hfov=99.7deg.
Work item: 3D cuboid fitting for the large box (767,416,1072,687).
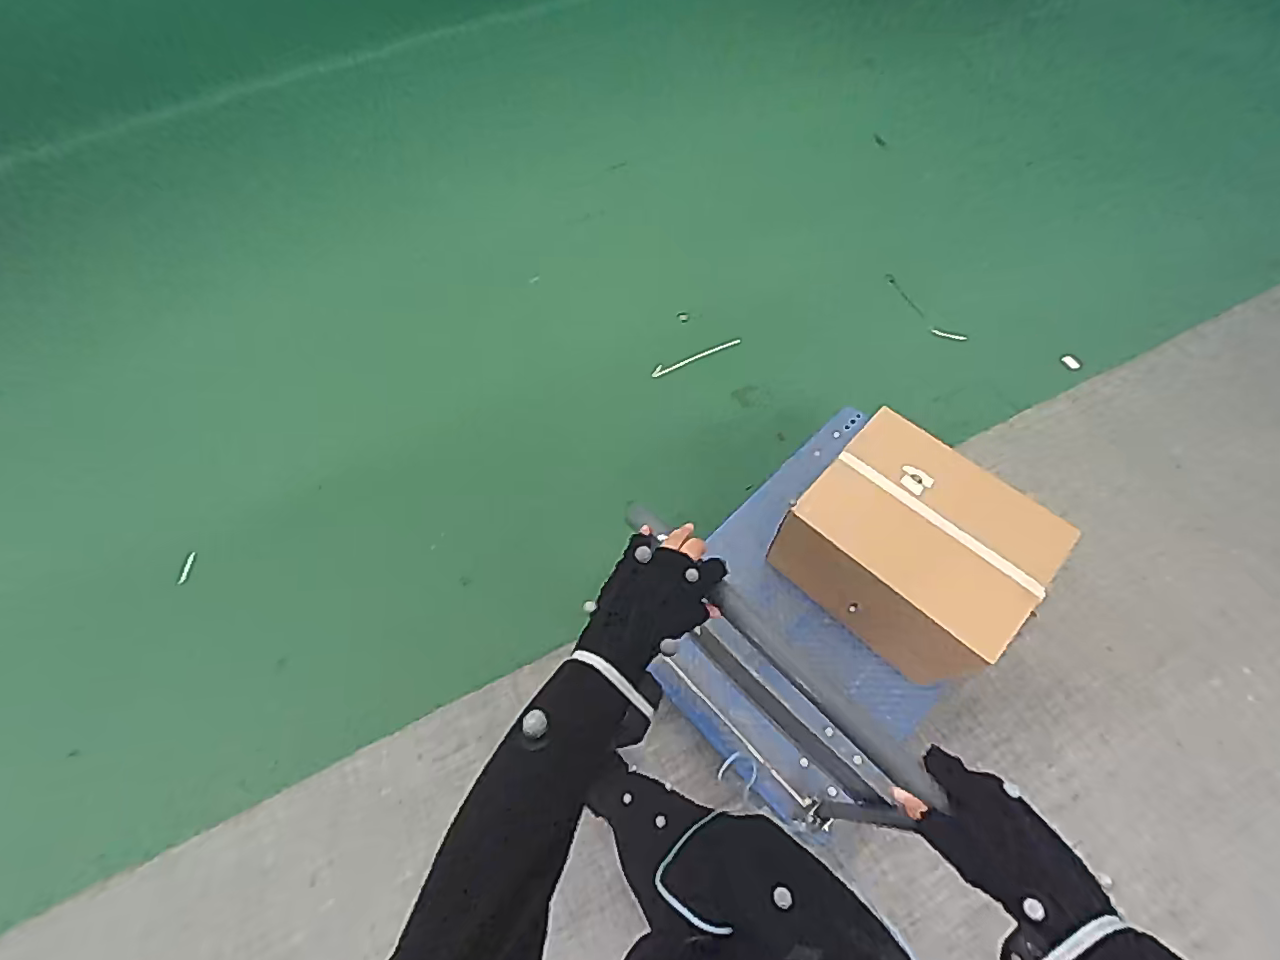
[{"bbox_3d":[0.527,0.153,1.107,0.408,0.320,0.320,40,72,22],"label":"large box"}]
